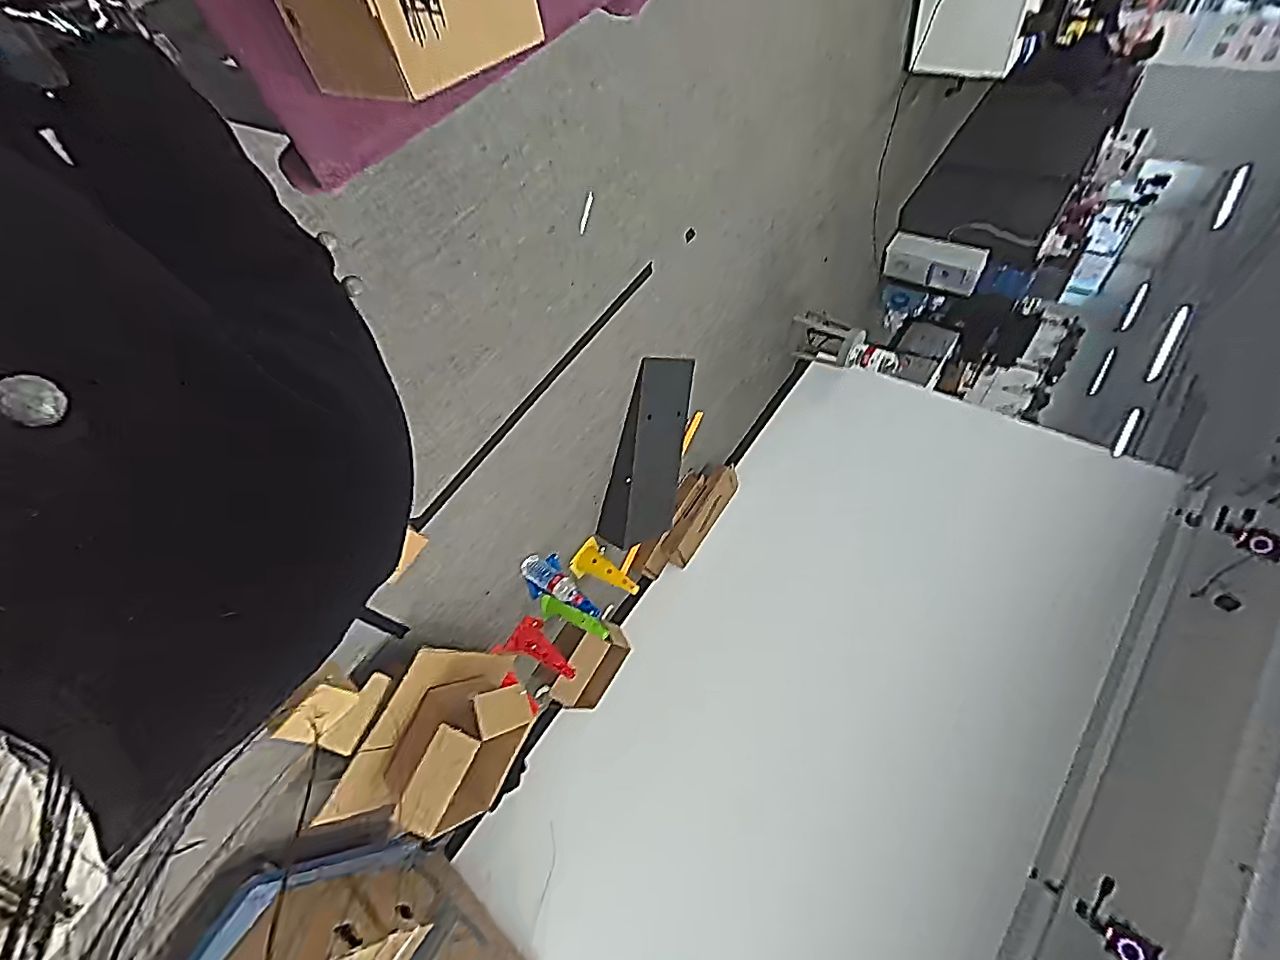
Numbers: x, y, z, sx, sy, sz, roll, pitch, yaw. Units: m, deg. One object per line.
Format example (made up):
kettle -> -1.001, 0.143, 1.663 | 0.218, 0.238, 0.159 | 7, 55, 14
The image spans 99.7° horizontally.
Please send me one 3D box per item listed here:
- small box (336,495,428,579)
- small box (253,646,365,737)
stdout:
small box -> -0.814, 0.179, 1.694 | 0.179, 0.176, 0.168 | -56, 153, -12
small box -> -0.934, 0.595, 1.528 | 0.168, 0.176, 0.179 | -51, 150, -16
